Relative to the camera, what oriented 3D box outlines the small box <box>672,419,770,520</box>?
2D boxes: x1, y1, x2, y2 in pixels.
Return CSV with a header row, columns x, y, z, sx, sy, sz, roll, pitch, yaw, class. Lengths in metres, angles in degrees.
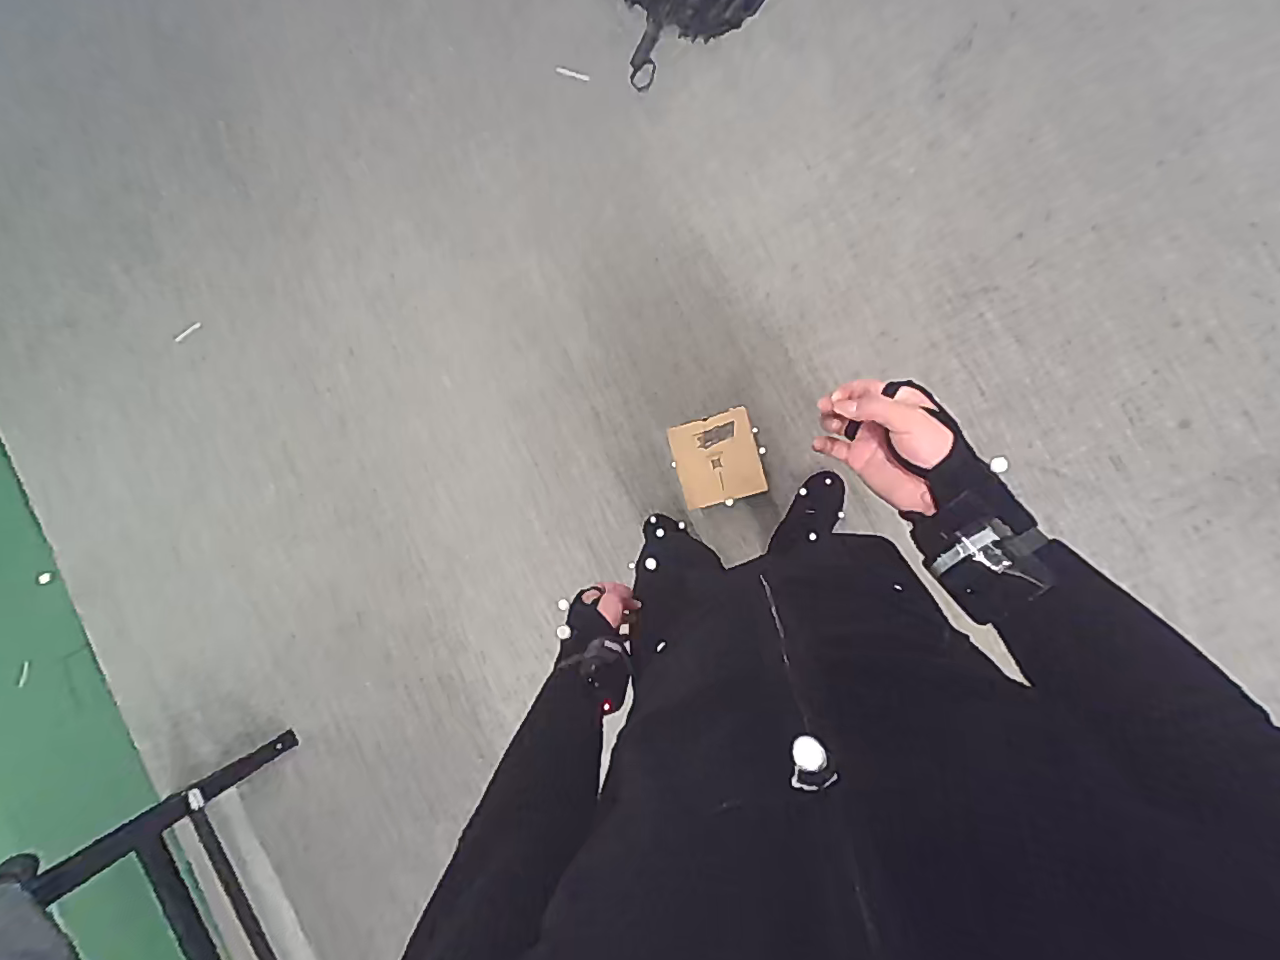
x,y,z,sx,sy,sz,roll,pitch,yaw,class
0.177,-0.022,1.166,0.168,0.176,0.179,-15,90,13,small box
